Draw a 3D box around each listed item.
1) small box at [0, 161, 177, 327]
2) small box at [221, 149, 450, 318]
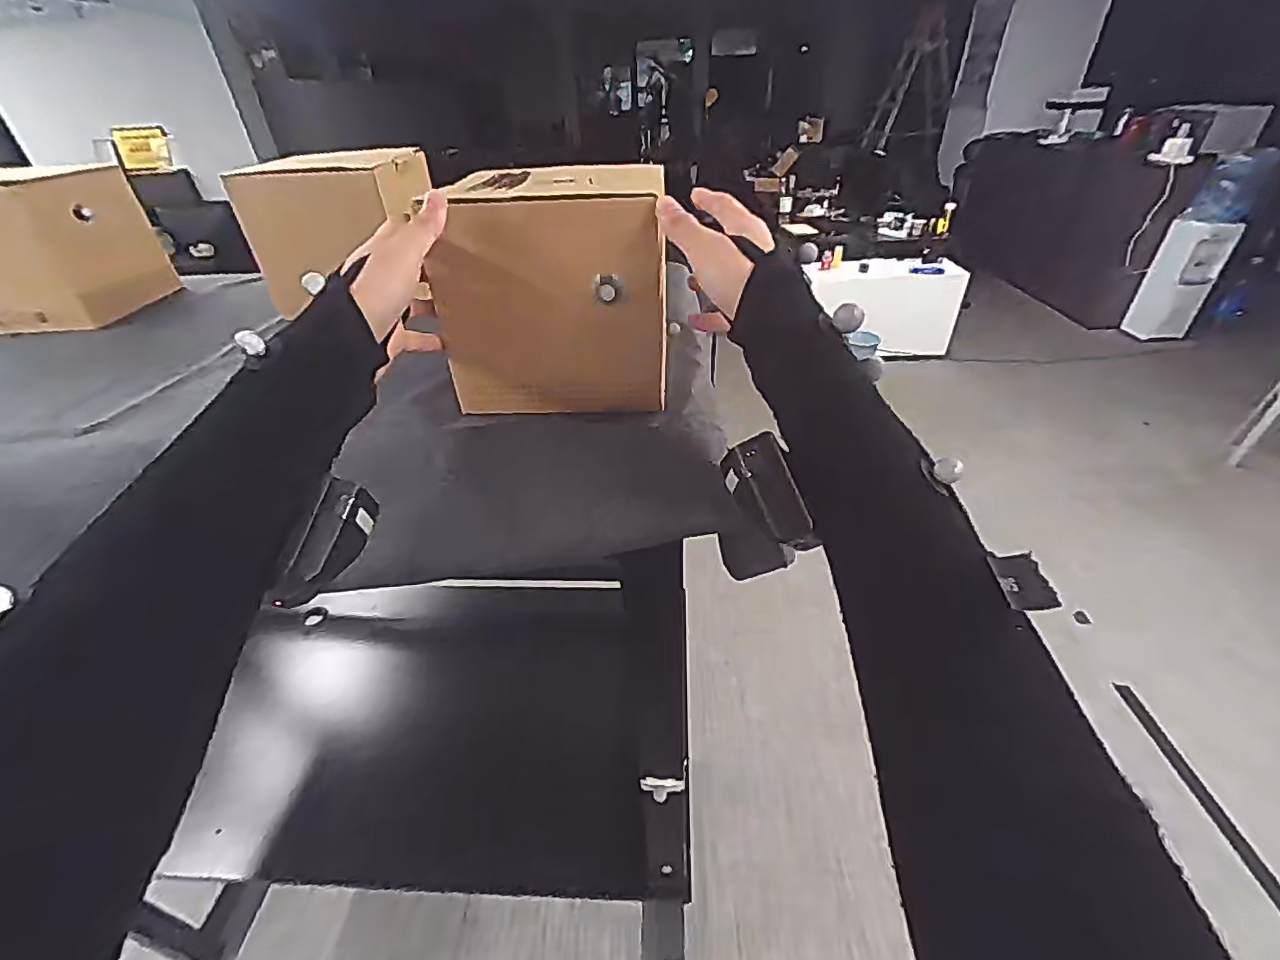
[{"bbox_3d":[-0.773,-0.307,0.708,0.168,0.176,0.179,-2,36,0],"label":"small box"},{"bbox_3d":[-0.365,-0.316,0.695,0.179,0.176,0.168,0,36,3],"label":"small box"}]
